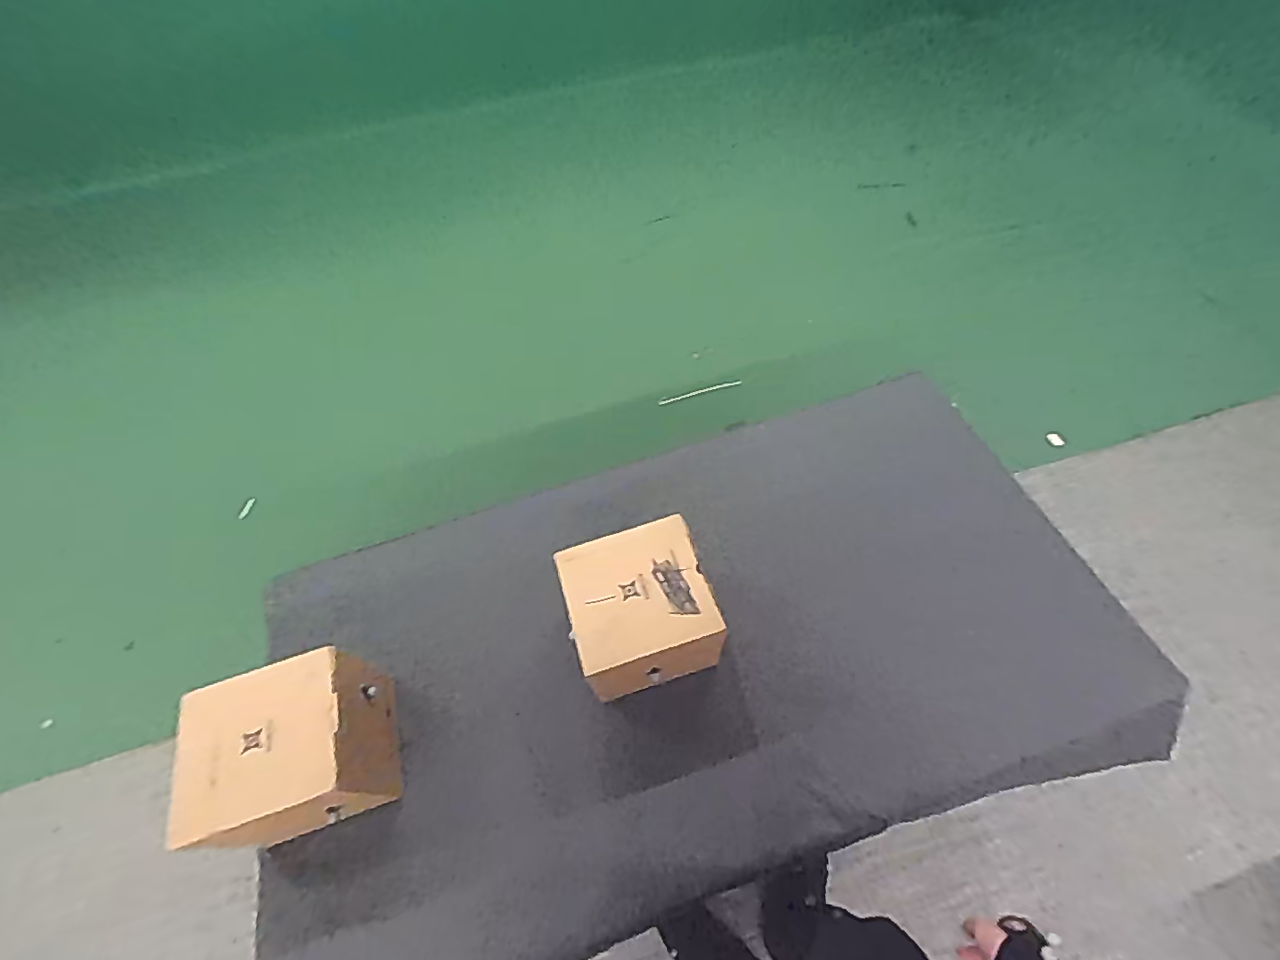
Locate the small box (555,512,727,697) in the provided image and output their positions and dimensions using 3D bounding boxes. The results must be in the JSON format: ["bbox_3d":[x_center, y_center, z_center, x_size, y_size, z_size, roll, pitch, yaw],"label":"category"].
[{"bbox_3d":[-0.001,0.170,0.721,0.179,0.176,0.168,-16,58,-7],"label":"small box"}]

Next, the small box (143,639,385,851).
[{"bbox_3d":[-0.423,0.316,0.646,0.179,0.176,0.168,-18,57,-8],"label":"small box"}]
